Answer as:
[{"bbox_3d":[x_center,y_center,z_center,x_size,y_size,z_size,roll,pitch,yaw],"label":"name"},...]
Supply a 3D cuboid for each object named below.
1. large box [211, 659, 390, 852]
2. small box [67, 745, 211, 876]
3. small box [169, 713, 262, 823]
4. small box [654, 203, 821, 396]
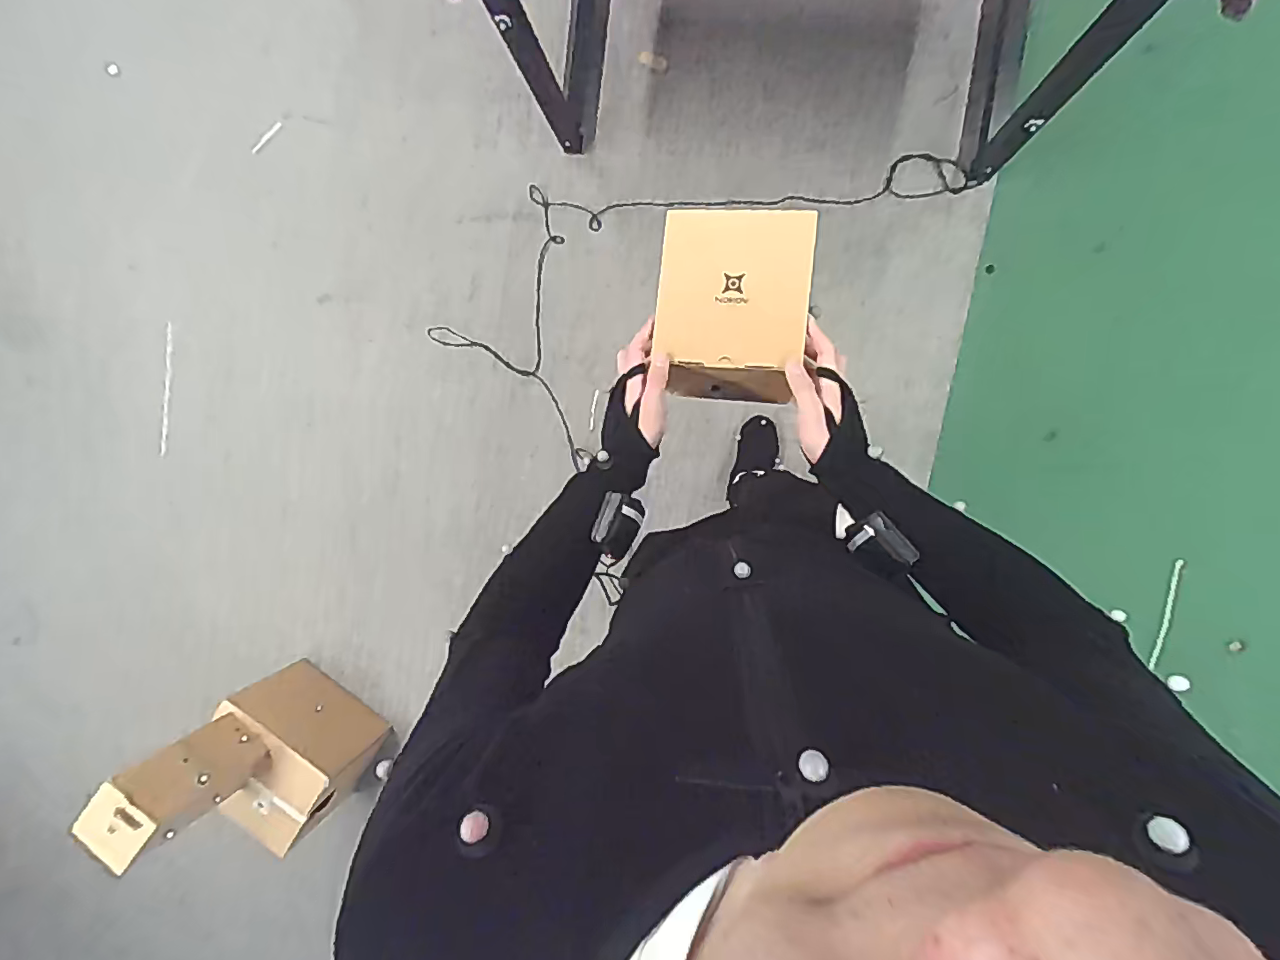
[{"bbox_3d":[-1.110,0.852,1.727,0.408,0.320,0.320,33,99,4],"label":"large box"},{"bbox_3d":[-1.210,0.796,1.323,0.168,0.176,0.179,40,98,3],"label":"small box"},{"bbox_3d":[-1.196,0.788,1.486,0.168,0.176,0.179,39,97,3],"label":"small box"},{"bbox_3d":[0.116,-0.210,0.664,0.168,0.176,0.179,6,89,10],"label":"small box"}]
